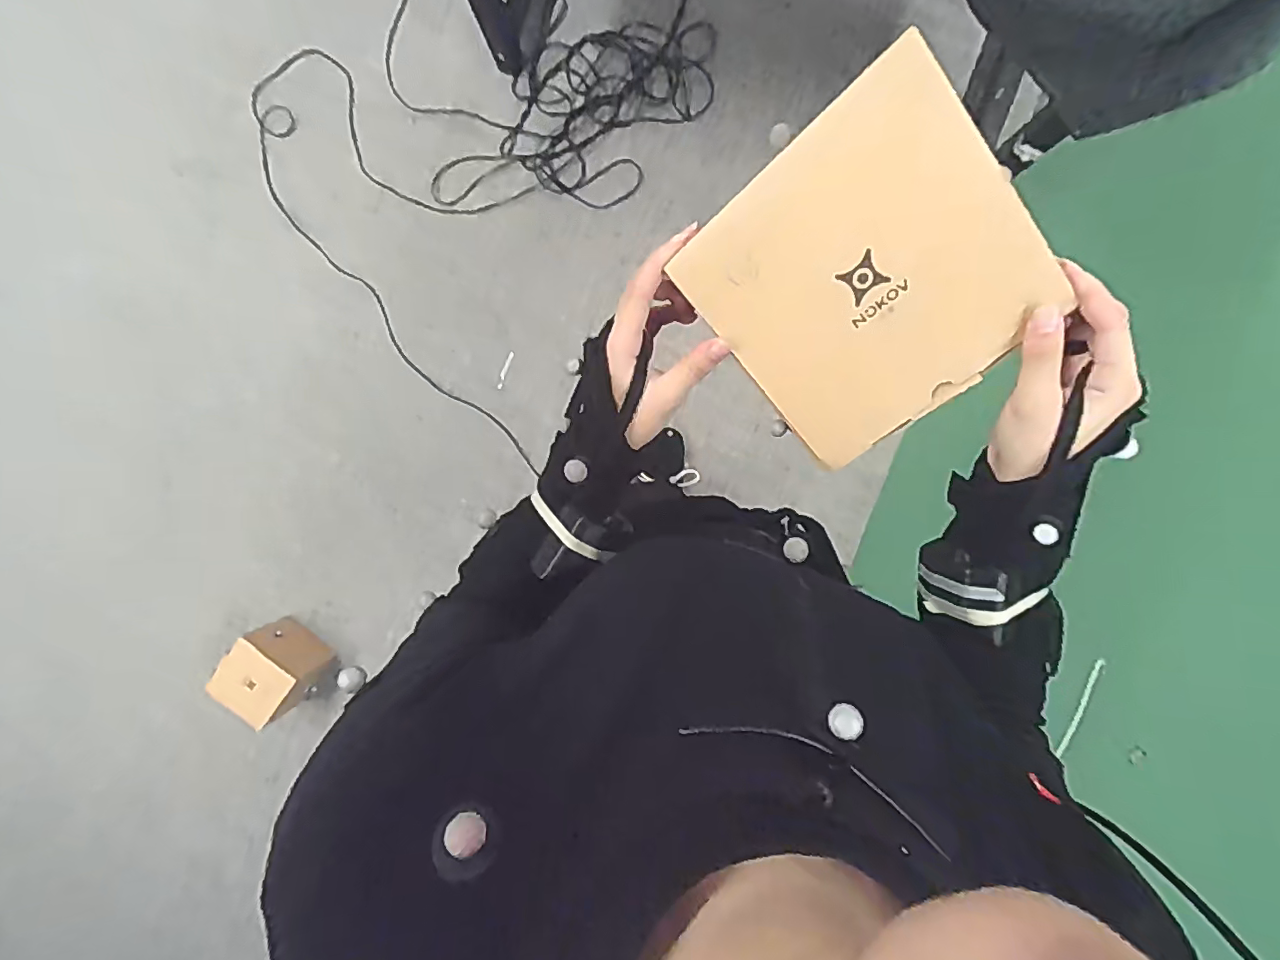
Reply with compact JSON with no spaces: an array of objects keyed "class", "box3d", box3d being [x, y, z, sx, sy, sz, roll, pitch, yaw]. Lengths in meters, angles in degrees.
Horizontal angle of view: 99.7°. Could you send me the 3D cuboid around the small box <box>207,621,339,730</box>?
[{"class":"small box","box3d":[-0.915,0.479,1.362,0.179,0.176,0.168,37,95,0]}]
